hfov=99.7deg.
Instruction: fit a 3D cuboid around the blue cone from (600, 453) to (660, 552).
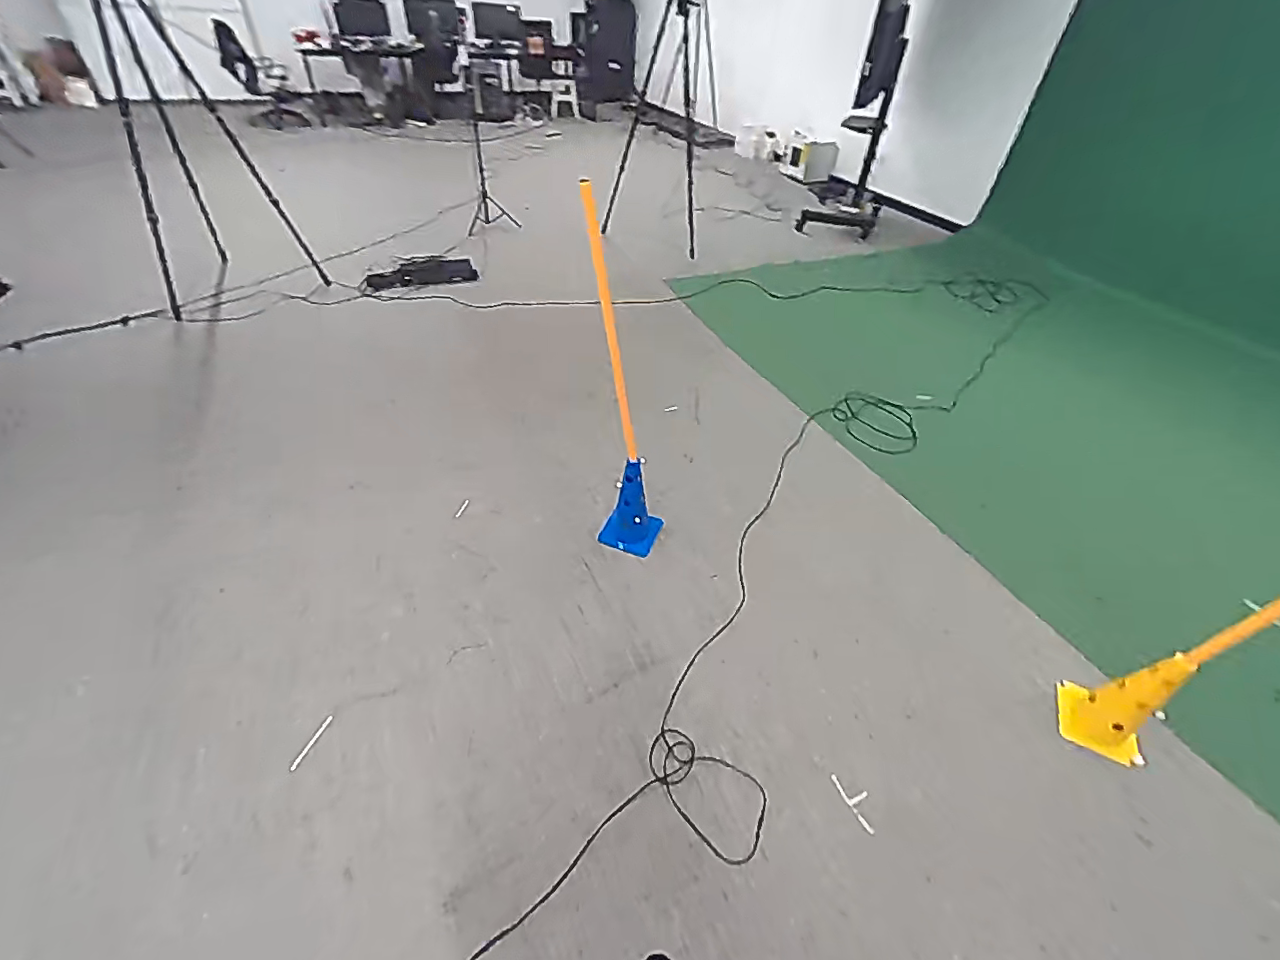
[{"bbox_3d":[-0.033,0.064,1.881,0.193,0.380,0.192,15,45,14],"label":"blue cone"}]
